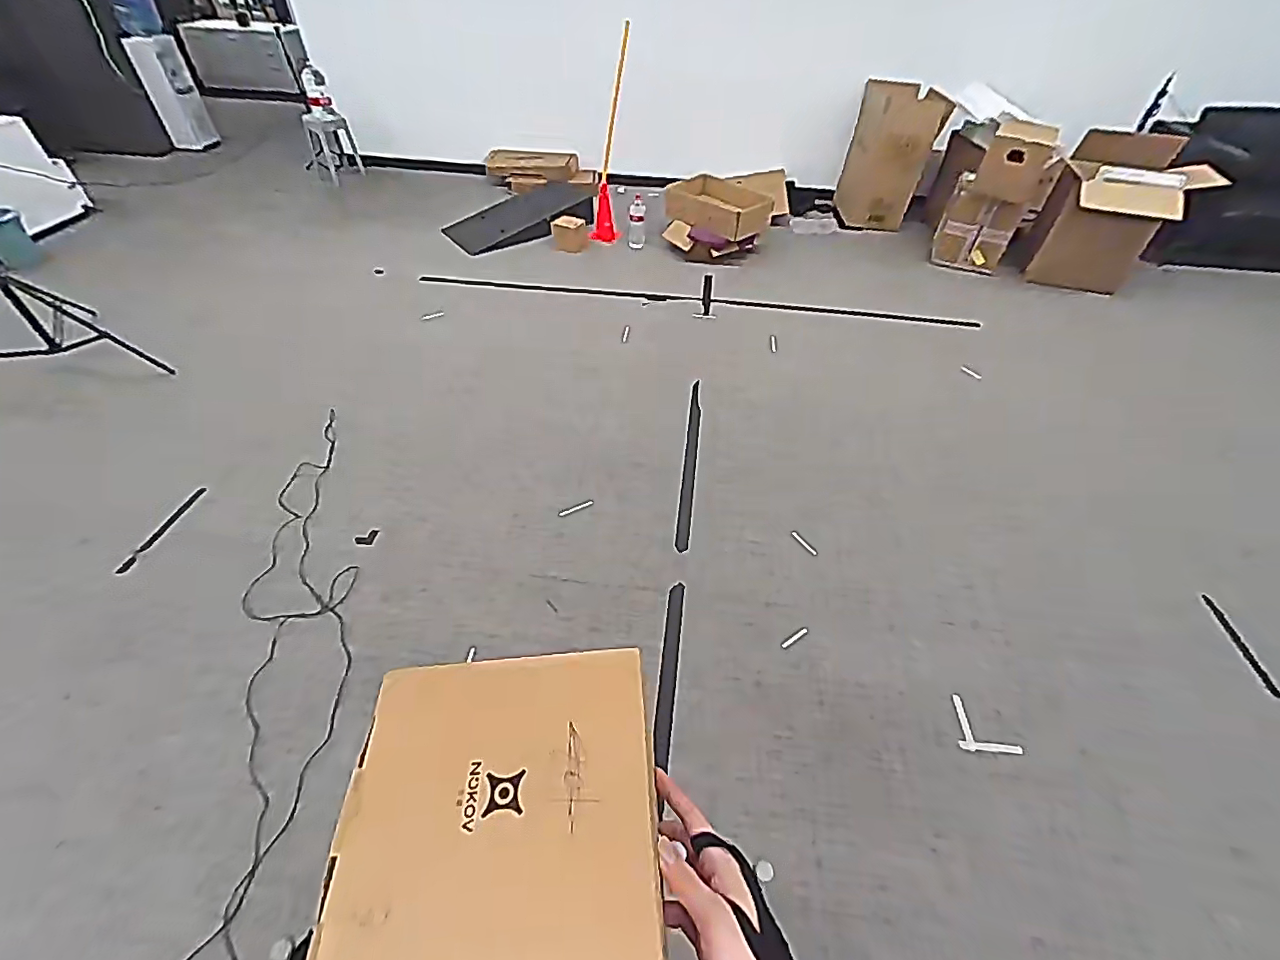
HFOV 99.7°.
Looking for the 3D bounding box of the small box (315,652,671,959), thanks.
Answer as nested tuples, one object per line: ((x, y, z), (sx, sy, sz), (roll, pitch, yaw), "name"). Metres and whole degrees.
((-0.075, 0.241, 0.375), (0.179, 0.176, 0.168), (-5, 46, 0), "small box")
